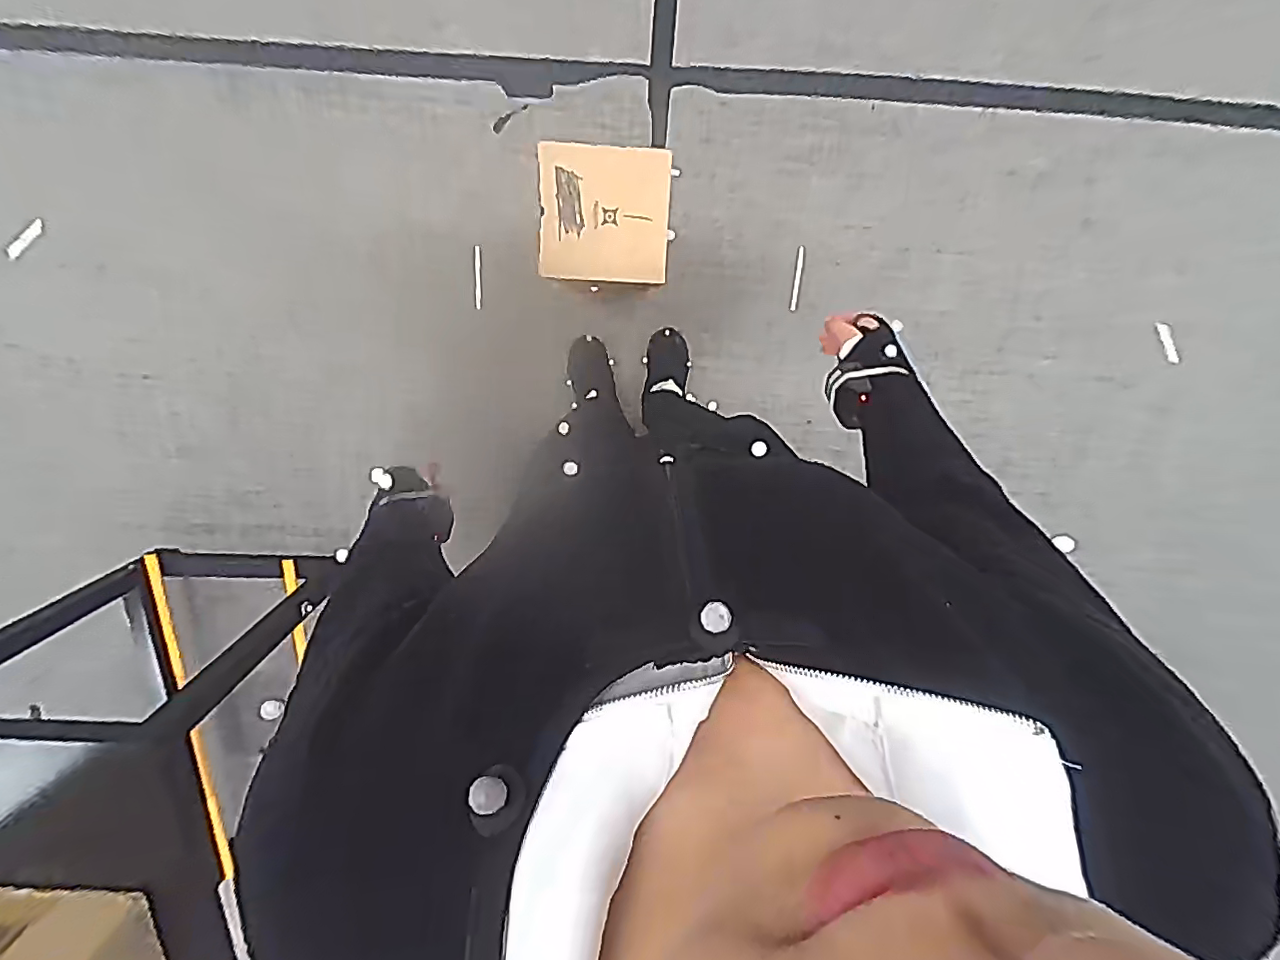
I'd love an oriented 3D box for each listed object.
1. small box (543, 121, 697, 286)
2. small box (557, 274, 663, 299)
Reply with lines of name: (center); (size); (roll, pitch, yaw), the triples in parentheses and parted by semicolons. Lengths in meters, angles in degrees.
small box: (-0.027, -0.347, 0.708); (0.179, 0.176, 0.168); (2, 109, -2)
small box: (-0.039, -0.391, 0.868); (0.168, 0.176, 0.179); (4, 109, -2)
